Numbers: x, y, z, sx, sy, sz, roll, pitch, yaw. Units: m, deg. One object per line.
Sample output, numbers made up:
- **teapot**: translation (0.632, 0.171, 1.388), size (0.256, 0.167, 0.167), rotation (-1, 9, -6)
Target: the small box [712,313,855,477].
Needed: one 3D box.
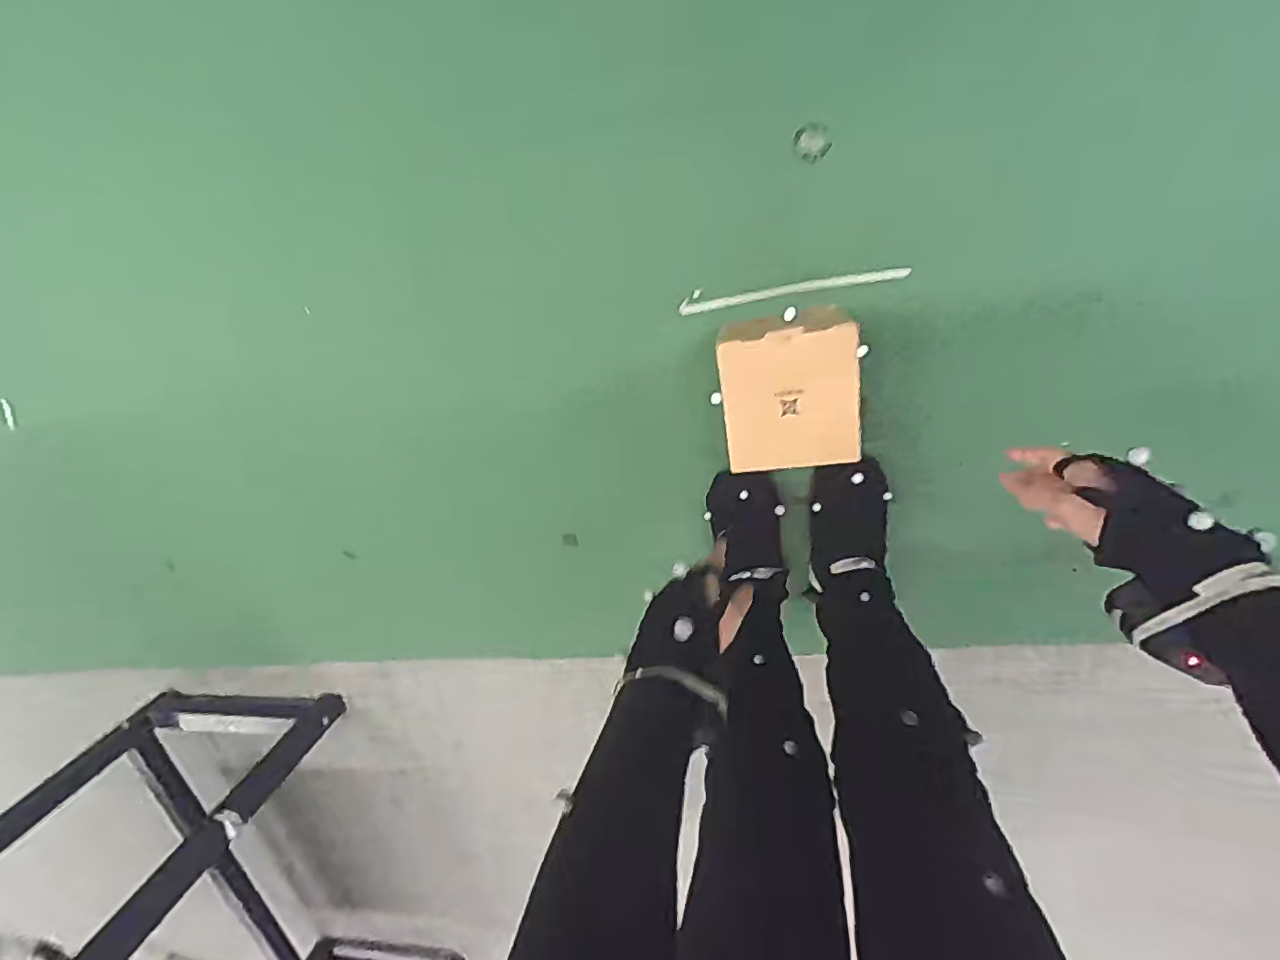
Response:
- **small box**: translation (0.199, -0.121, 0.750), size (0.168, 0.176, 0.179), rotation (-6, 111, 15)
